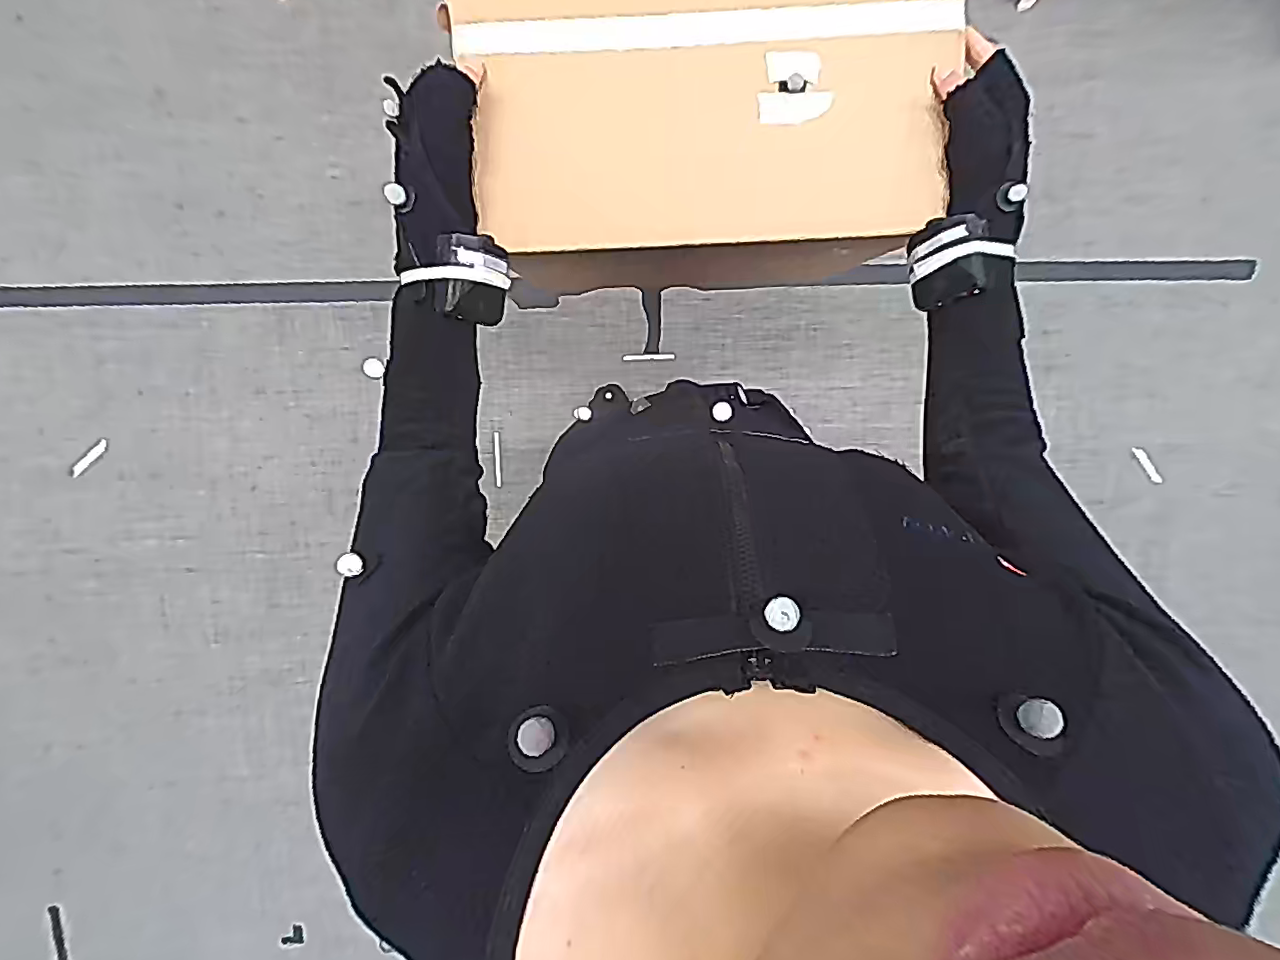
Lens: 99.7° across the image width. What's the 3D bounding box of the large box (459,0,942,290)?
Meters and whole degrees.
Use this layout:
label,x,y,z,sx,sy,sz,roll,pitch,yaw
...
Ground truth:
label,x,y,z,sx,sy,sz,roll,pitch,yaw
large box,0.048,-0.398,0.595,0.408,0.320,0.320,-3,104,-1
